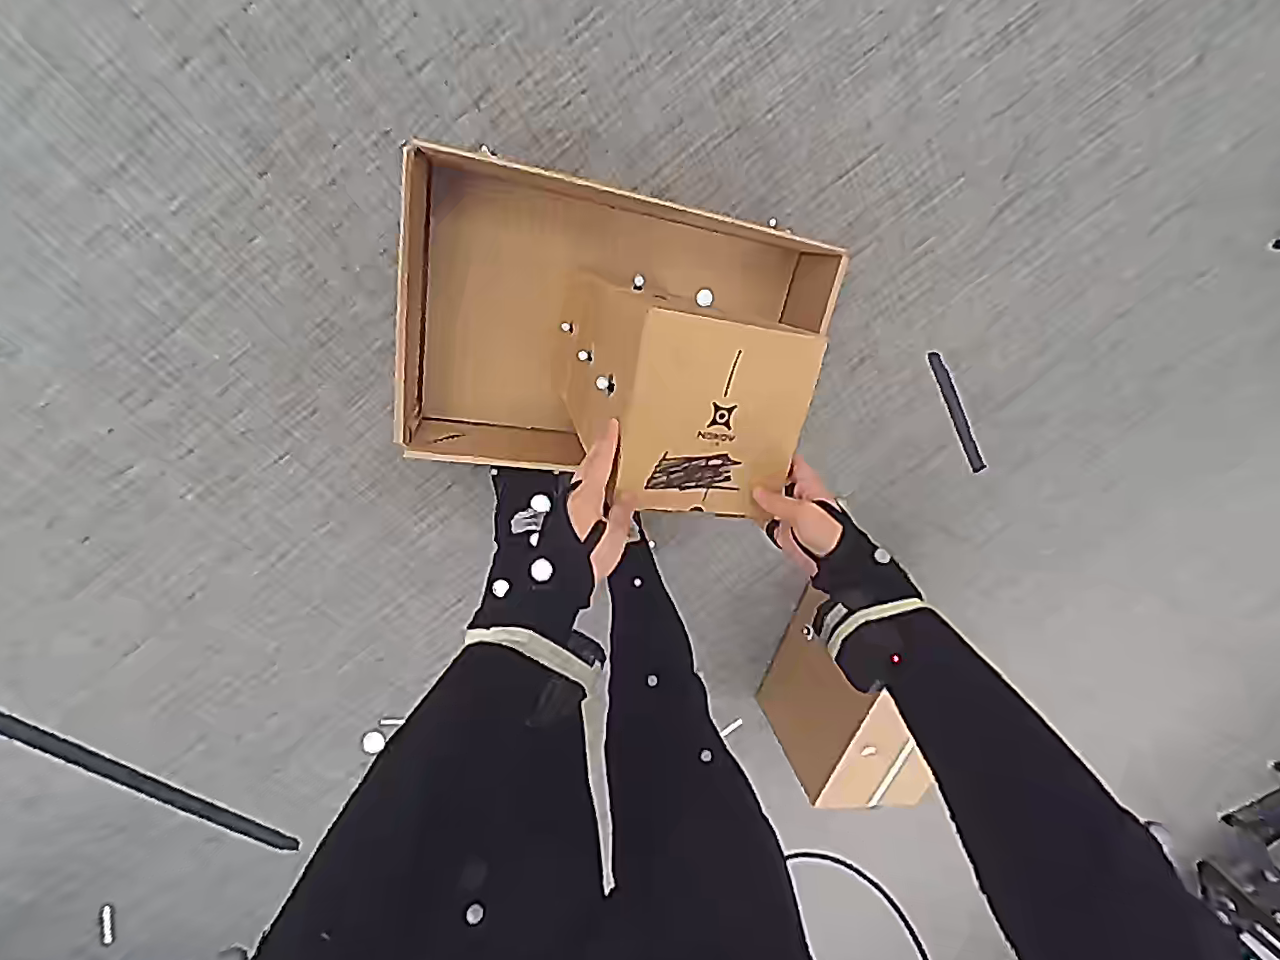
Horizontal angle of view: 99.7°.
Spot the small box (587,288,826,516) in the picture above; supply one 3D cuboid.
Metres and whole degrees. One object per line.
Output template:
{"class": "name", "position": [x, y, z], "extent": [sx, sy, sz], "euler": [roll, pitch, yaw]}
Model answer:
{"class": "small box", "position": [0.048, -0.082, 0.540], "extent": [0.168, 0.176, 0.179], "euler": [5, 111, -18]}

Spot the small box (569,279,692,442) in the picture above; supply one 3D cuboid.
{"class": "small box", "position": [0.009, -0.147, 0.688], "extent": [0.168, 0.176, 0.179], "euler": [7, 113, -18]}

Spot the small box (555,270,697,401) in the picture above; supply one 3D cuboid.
{"class": "small box", "position": [-0.031, -0.213, 0.831], "extent": [0.168, 0.176, 0.179], "euler": [8, 112, -18]}
